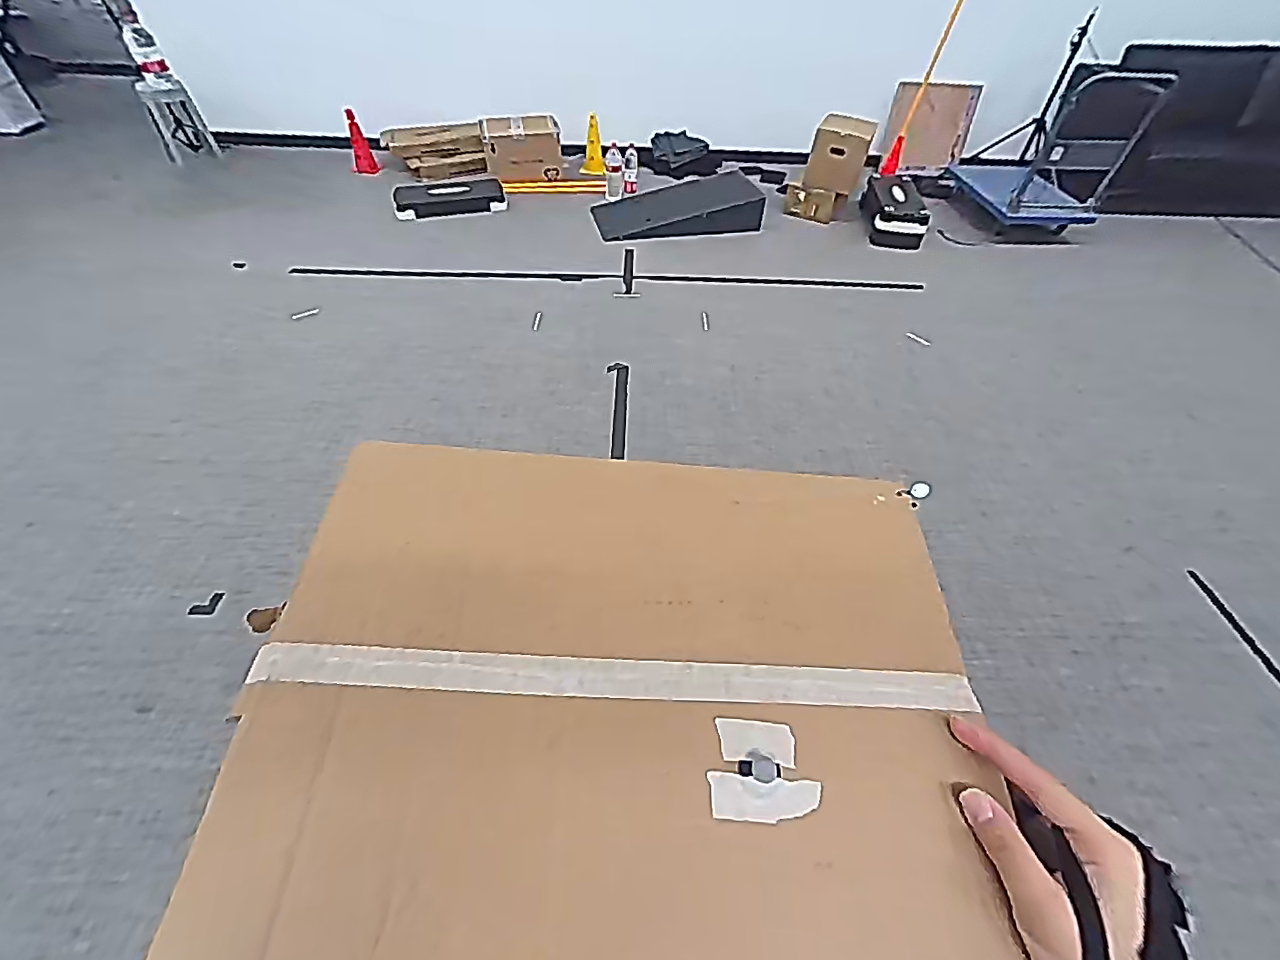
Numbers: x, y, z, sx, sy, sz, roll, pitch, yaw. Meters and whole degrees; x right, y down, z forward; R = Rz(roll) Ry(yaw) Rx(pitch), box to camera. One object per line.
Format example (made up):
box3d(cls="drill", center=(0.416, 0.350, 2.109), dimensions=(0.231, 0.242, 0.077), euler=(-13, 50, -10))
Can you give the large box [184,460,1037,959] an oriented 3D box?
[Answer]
box3d(cls="large box", center=(-0.018, 0.208, 0.441), dimensions=(0.408, 0.320, 0.320), euler=(5, 56, -5))
